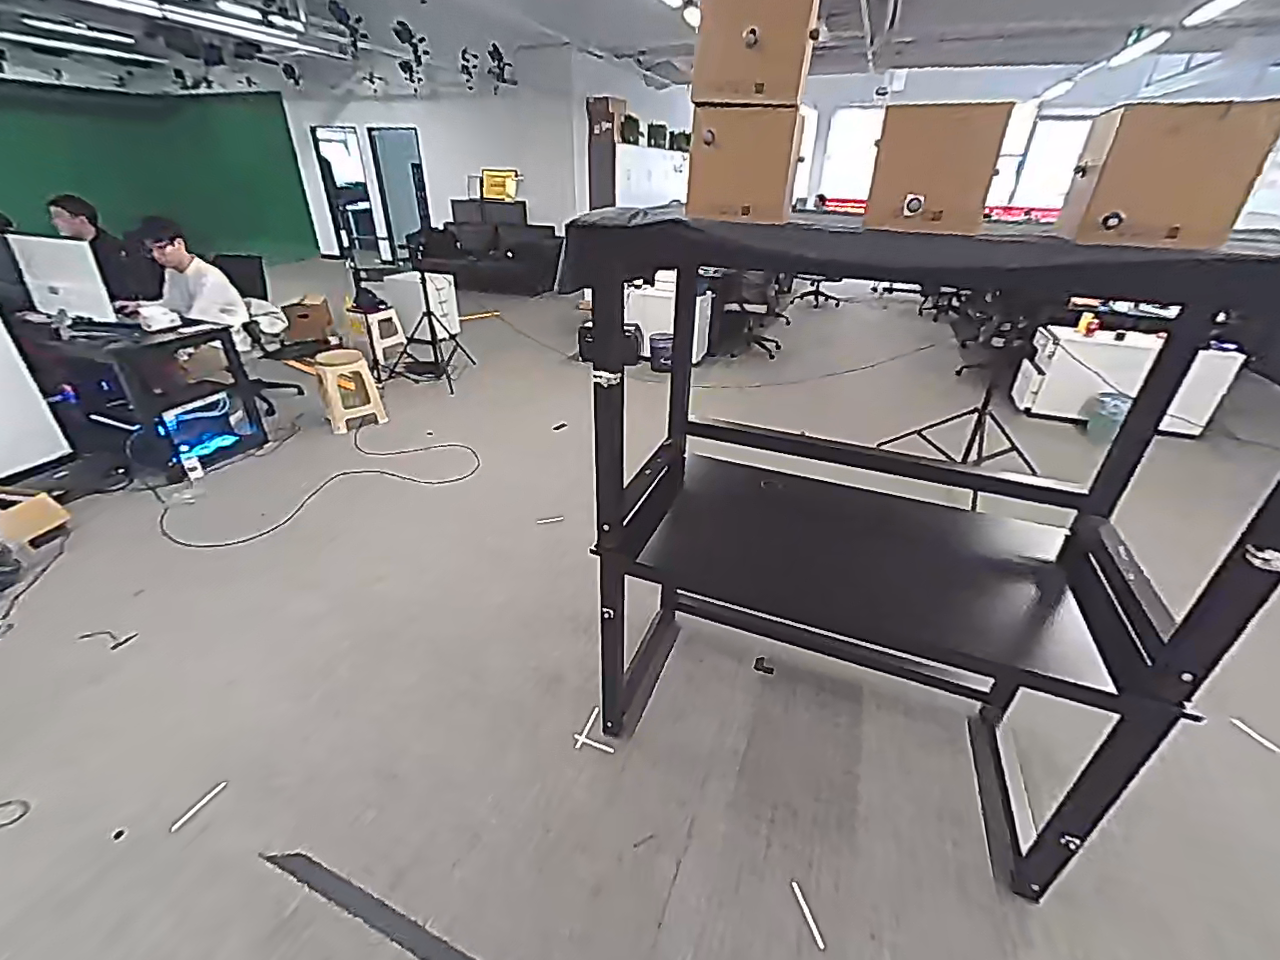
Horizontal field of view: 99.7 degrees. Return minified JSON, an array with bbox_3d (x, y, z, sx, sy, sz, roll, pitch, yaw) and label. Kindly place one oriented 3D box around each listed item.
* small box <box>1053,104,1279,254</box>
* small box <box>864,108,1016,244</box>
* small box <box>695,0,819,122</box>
[{"bbox_3d":[0.725,-0.419,0.767,0.168,0.176,0.179,13,30,20],"label":"small box"},{"bbox_3d":[0.459,-0.473,0.851,0.168,0.176,0.179,13,30,21],"label":"small box"},{"bbox_3d":[0.185,-0.676,0.858,0.168,0.176,0.179,11,30,12],"label":"small box"}]
